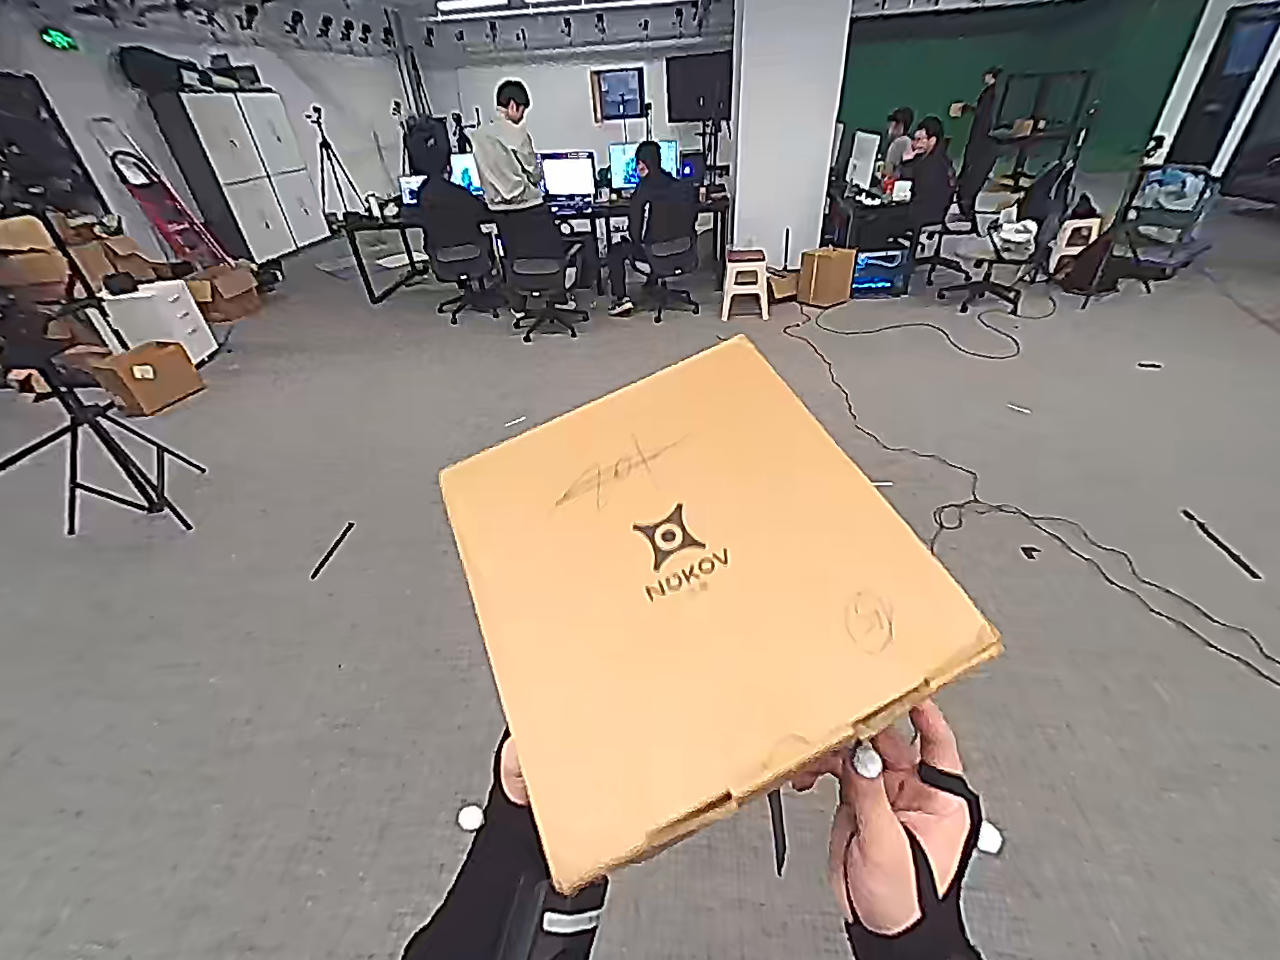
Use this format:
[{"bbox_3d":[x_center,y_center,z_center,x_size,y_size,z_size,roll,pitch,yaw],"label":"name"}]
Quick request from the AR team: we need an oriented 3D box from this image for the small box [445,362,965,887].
[{"bbox_3d":[0.024,0.077,0.297,0.168,0.176,0.179,-27,57,-6],"label":"small box"}]
